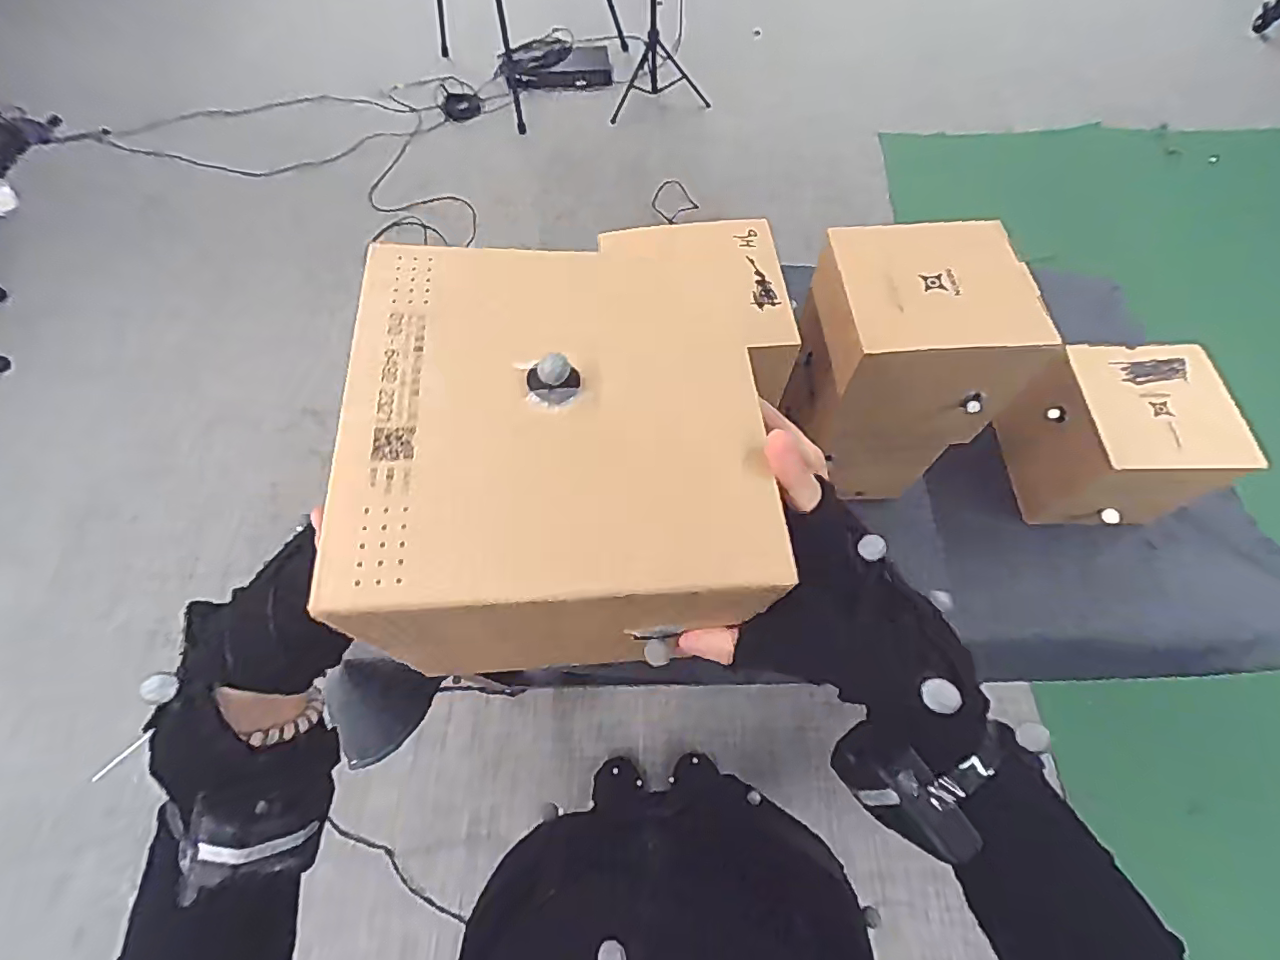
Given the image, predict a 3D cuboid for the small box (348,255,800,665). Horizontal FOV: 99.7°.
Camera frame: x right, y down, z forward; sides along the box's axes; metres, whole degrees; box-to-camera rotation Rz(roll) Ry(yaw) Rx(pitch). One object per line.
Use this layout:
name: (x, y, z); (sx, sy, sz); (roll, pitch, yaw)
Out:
small box: (-0.038, 0.003, 0.298); (0.176, 0.179, 0.168); (-2, 64, -7)

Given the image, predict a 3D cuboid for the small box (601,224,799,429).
small box: (0.057, -0.147, 0.593); (0.179, 0.176, 0.168); (-6, 64, 0)
